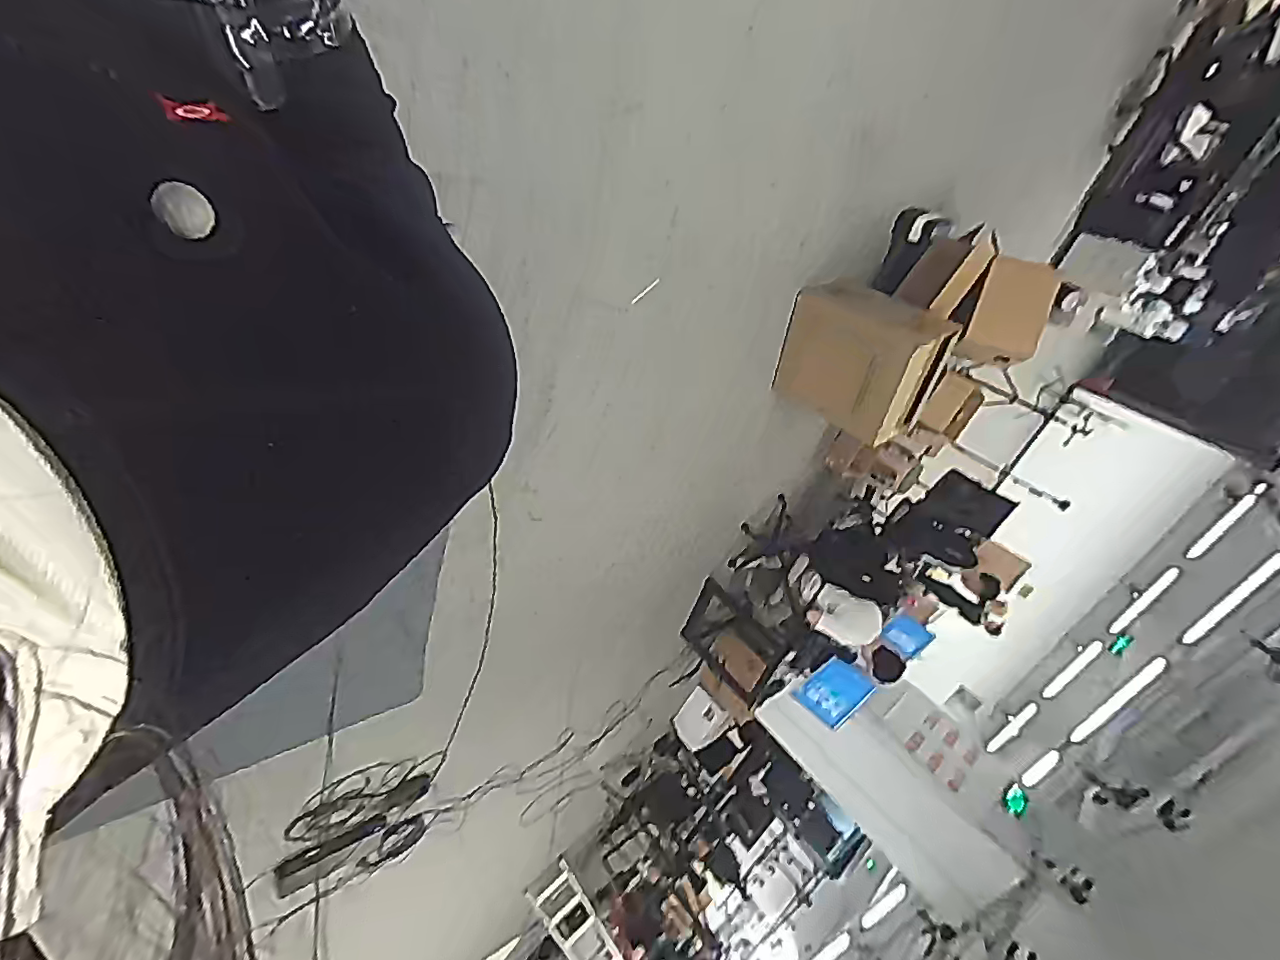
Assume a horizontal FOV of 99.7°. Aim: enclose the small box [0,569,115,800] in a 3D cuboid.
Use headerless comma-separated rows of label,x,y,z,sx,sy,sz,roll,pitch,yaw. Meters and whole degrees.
small box,-0.698,0.224,0.577,0.179,0.176,0.168,-12,133,-41
